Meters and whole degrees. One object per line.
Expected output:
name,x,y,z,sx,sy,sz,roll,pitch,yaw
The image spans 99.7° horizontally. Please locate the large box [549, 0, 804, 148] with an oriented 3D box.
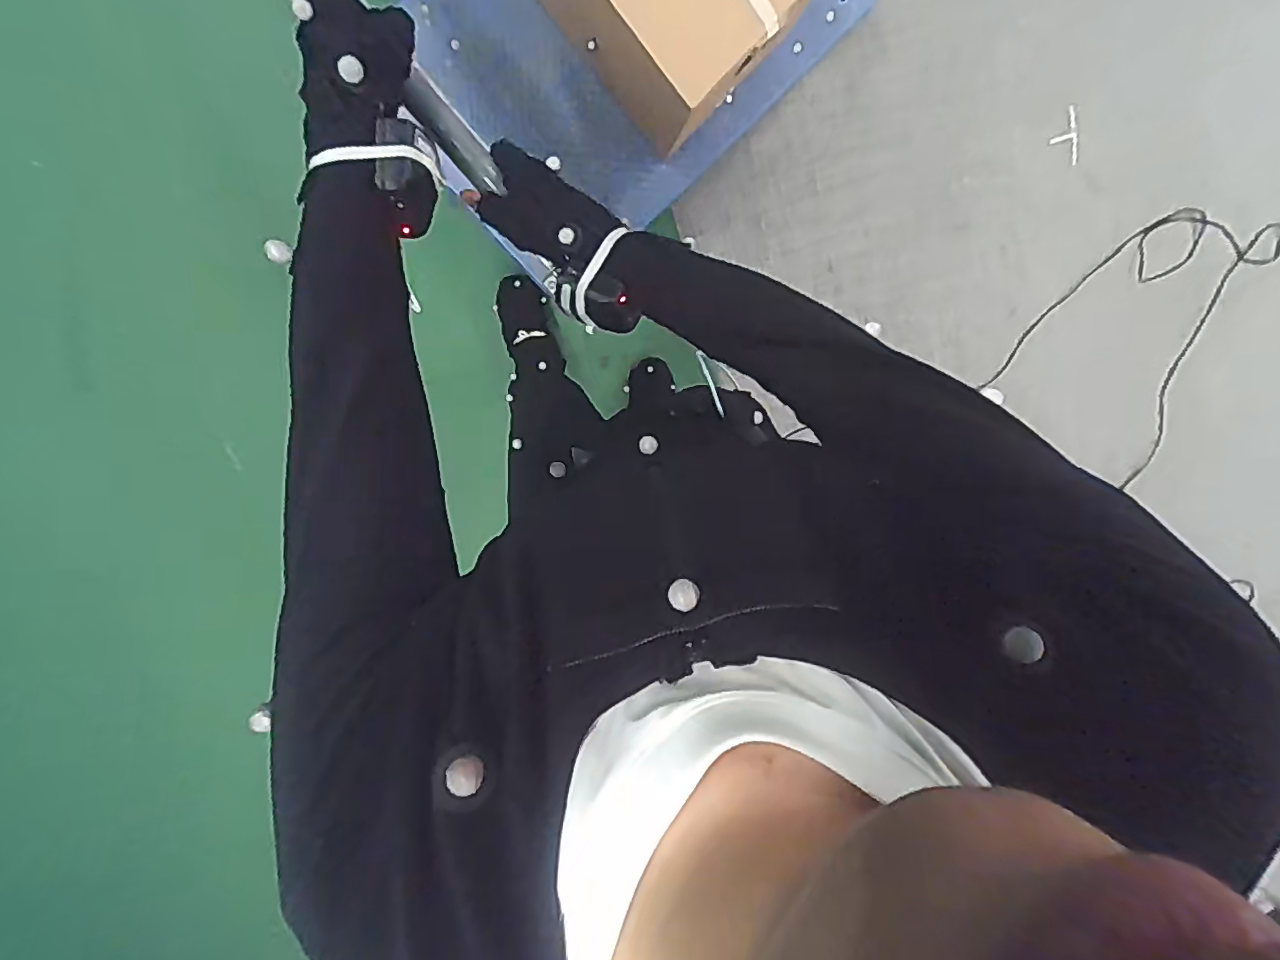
large box,0.045,-0.849,0.873,0.320,0.320,0.408,-43,107,9
